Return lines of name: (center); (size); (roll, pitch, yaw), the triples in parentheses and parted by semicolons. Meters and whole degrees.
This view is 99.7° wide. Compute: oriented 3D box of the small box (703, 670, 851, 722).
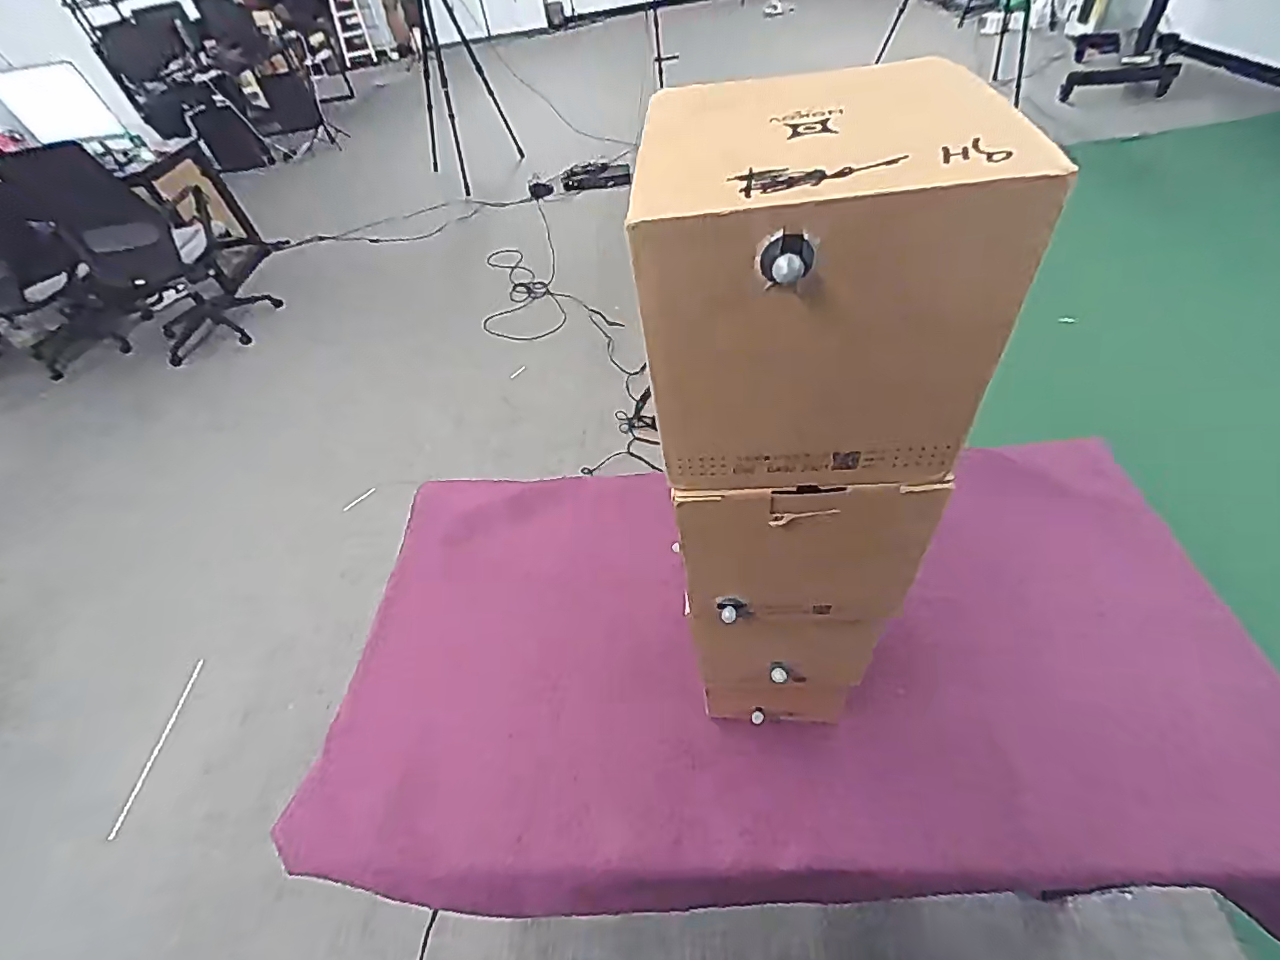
small box: (0.166, 0.193, 0.702); (0.168, 0.176, 0.179); (-2, 49, 9)

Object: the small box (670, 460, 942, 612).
small box: (0.118, -0.004, 0.443); (0.168, 0.176, 0.179); (-3, 47, 9)

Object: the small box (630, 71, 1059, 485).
small box: (0.095, -0.116, 0.326); (0.168, 0.176, 0.179); (-2, 47, 10)

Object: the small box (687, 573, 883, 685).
small box: (0.138, 0.097, 0.571); (0.168, 0.176, 0.179); (-4, 48, 9)
